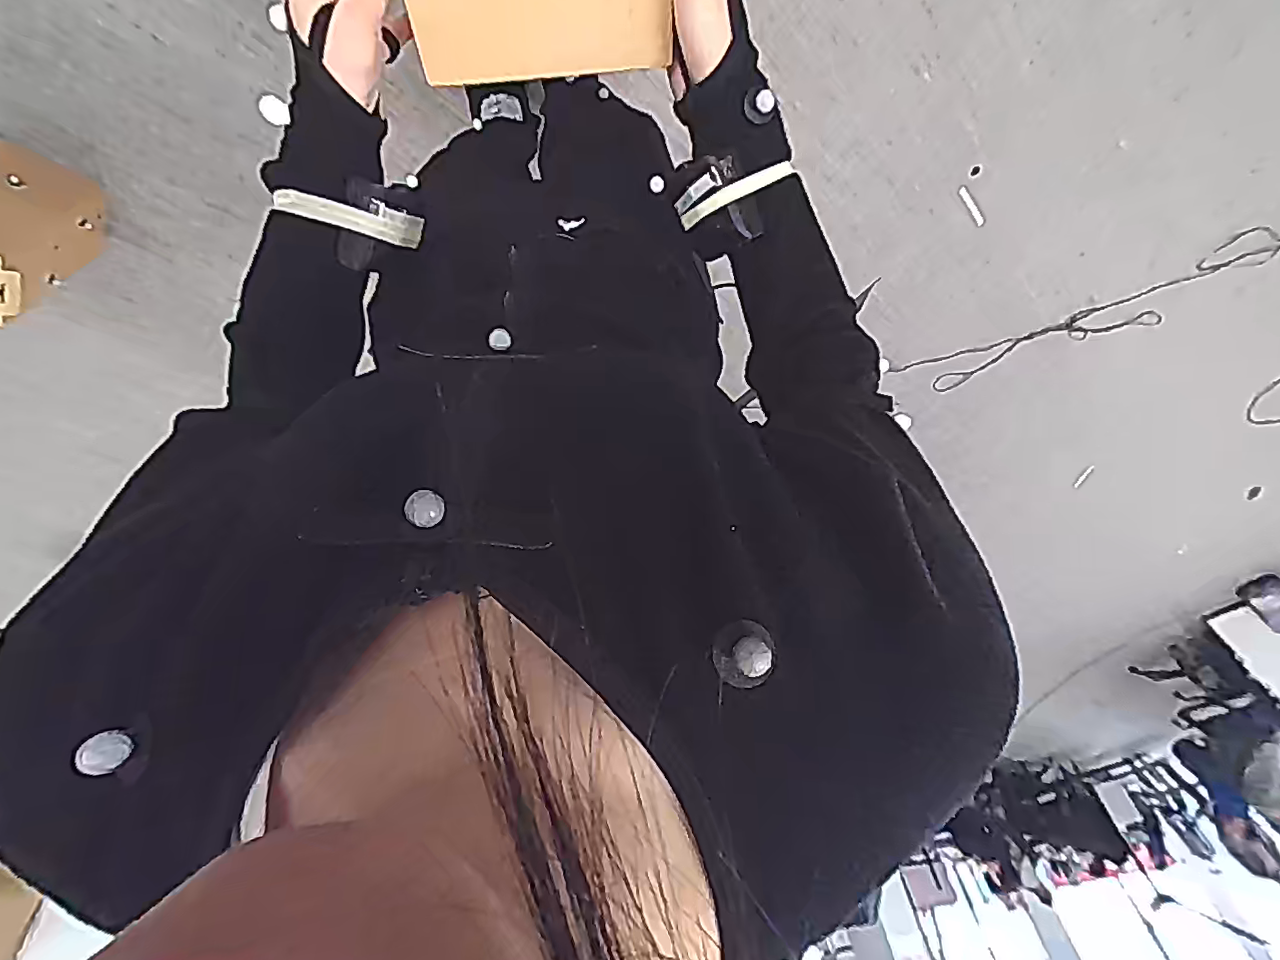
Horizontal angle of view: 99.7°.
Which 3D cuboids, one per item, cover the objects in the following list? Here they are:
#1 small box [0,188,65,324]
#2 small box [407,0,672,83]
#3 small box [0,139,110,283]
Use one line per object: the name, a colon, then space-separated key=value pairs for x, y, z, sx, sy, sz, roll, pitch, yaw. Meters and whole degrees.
small box: x=-1.184 y=-0.421 z=0.961 sx=0.179 sy=0.176 sz=0.168 roll=24 pitch=127 yaw=-31
small box: x=-0.070 y=-0.387 z=0.346 sx=0.168 sy=0.176 sz=0.179 roll=-7 pitch=139 yaw=-2
small box: x=-1.210 y=-0.537 z=1.075 sx=0.179 sy=0.176 sz=0.168 roll=24 pitch=127 yaw=-30
